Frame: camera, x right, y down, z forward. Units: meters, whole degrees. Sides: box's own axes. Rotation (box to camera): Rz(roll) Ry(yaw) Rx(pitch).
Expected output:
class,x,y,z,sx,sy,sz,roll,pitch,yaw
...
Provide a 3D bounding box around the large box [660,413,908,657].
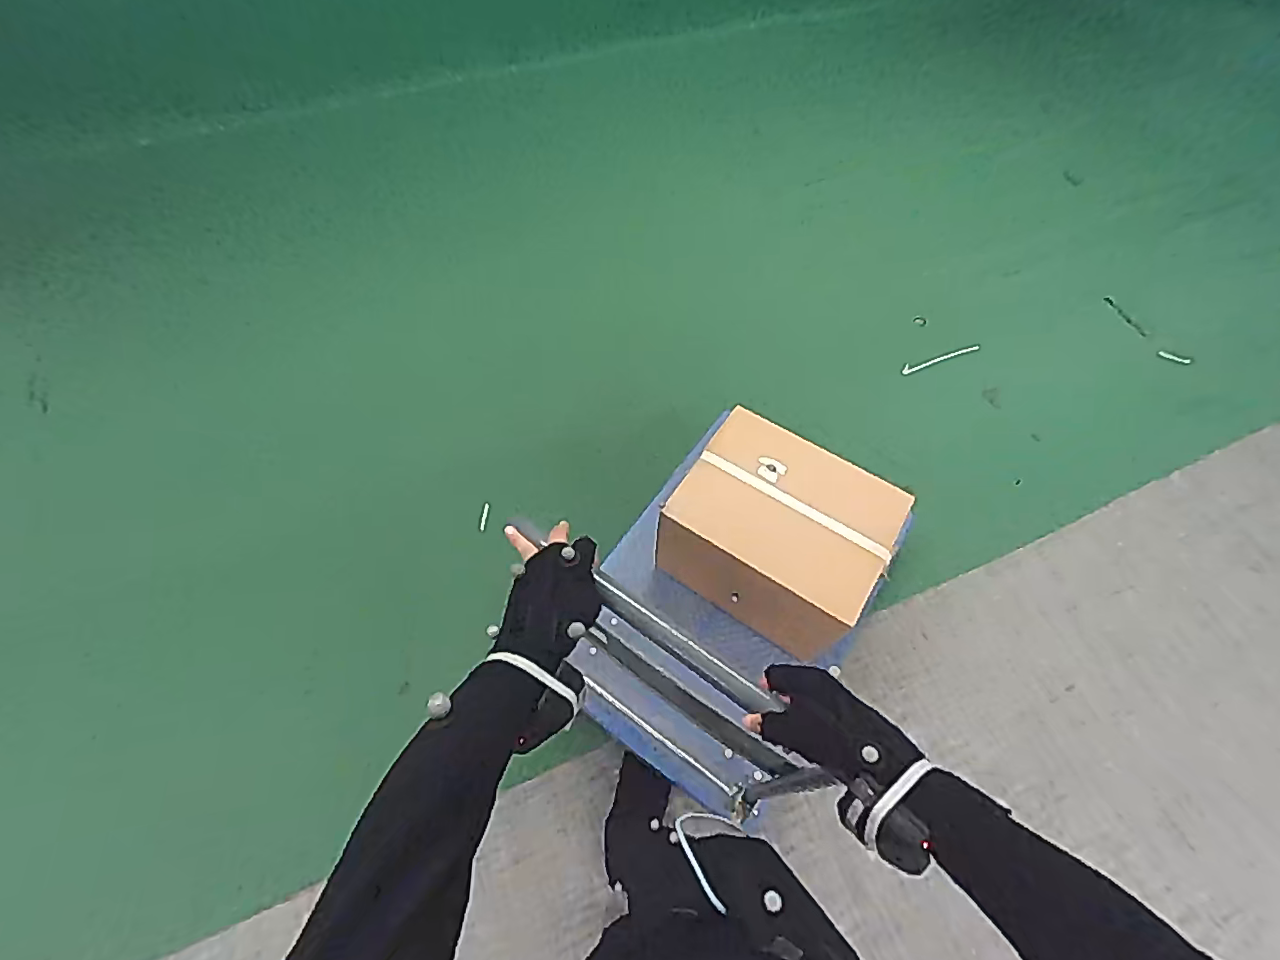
class,x,y,z,sx,sy,sz,roll,pitch,yaw
large box,0.291,0.128,1.195,0.408,0.320,0.320,30,64,16
